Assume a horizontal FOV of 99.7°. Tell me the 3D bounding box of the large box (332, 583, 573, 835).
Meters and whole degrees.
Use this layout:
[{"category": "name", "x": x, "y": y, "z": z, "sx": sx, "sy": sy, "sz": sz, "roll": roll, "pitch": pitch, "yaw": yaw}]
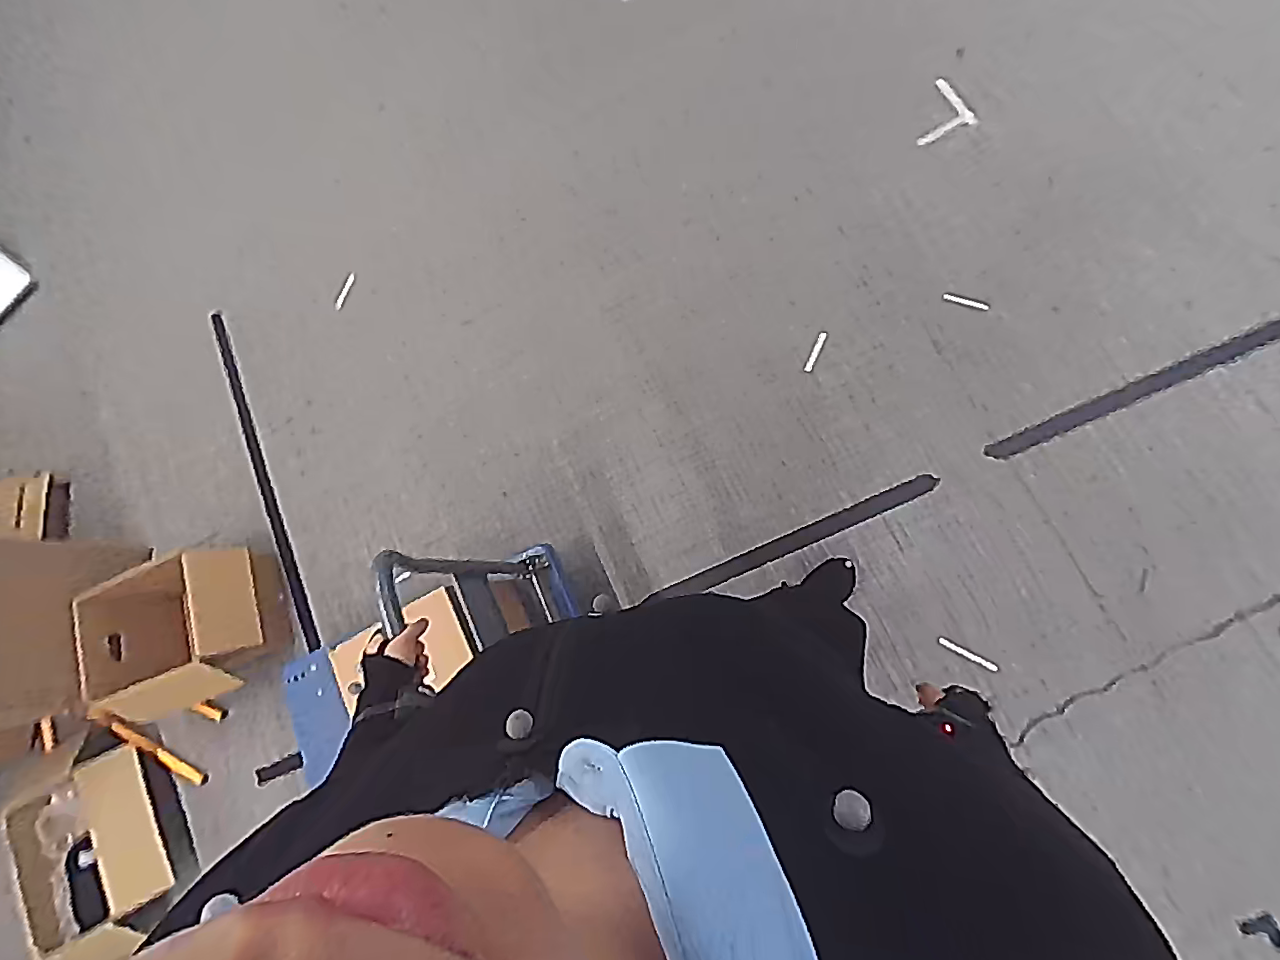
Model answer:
[{"category": "large box", "x": -0.412, "y": 0.489, "z": 1.246, "sx": 0.320, "sy": 0.320, "sz": 0.408, "roll": -30, "pitch": 76, "yaw": 6}]
